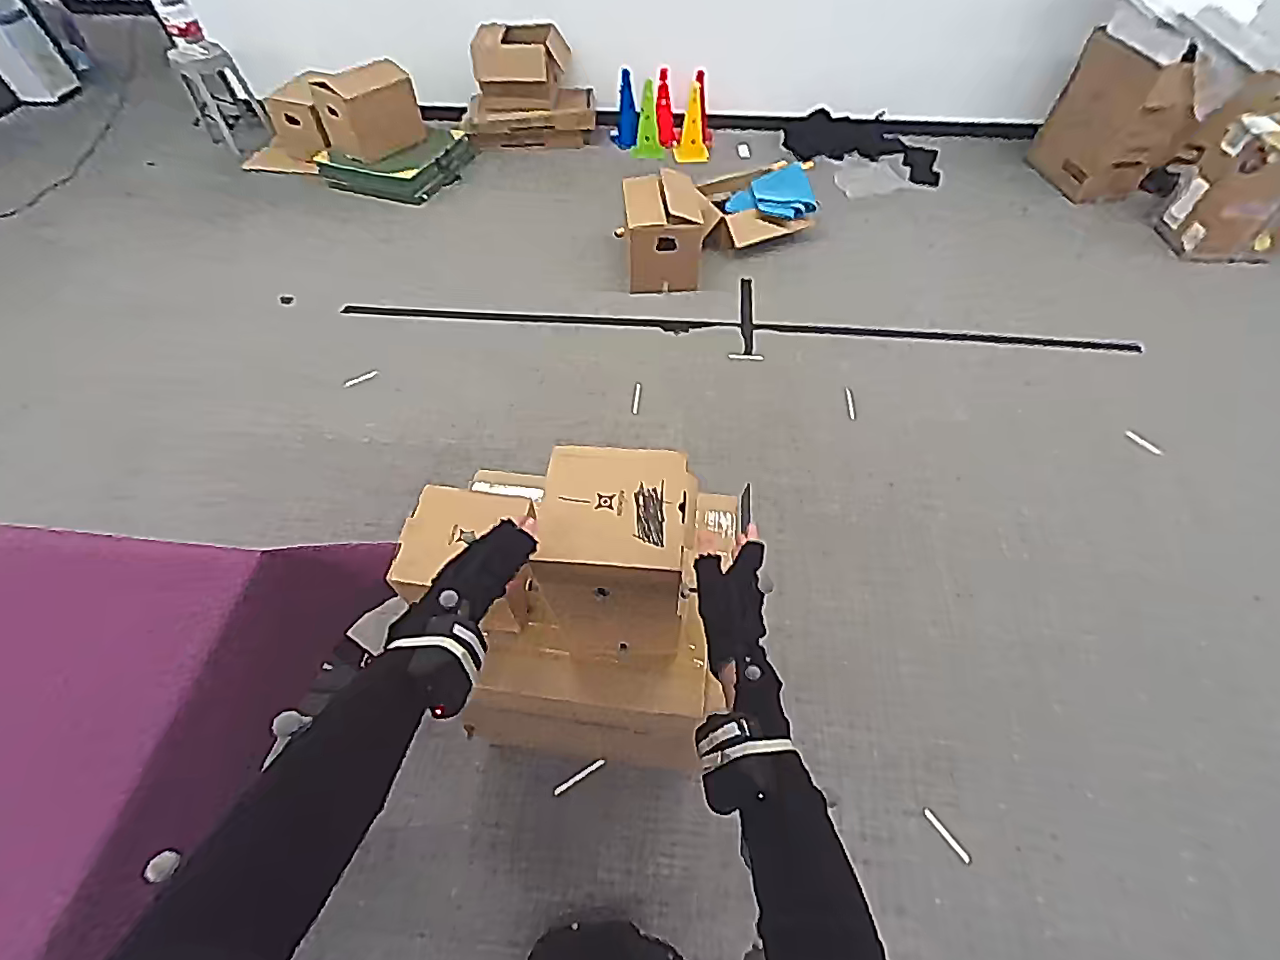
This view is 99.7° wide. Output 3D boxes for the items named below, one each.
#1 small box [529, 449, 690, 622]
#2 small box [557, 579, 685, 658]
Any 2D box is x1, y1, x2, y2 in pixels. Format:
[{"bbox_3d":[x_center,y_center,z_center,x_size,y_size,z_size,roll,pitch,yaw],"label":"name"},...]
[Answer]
[{"bbox_3d":[-0.029,0.078,0.712,0.179,0.176,0.168,3,55,5],"label":"small box"},{"bbox_3d":[-0.026,0.172,0.848,0.179,0.176,0.168,0,54,1],"label":"small box"}]
